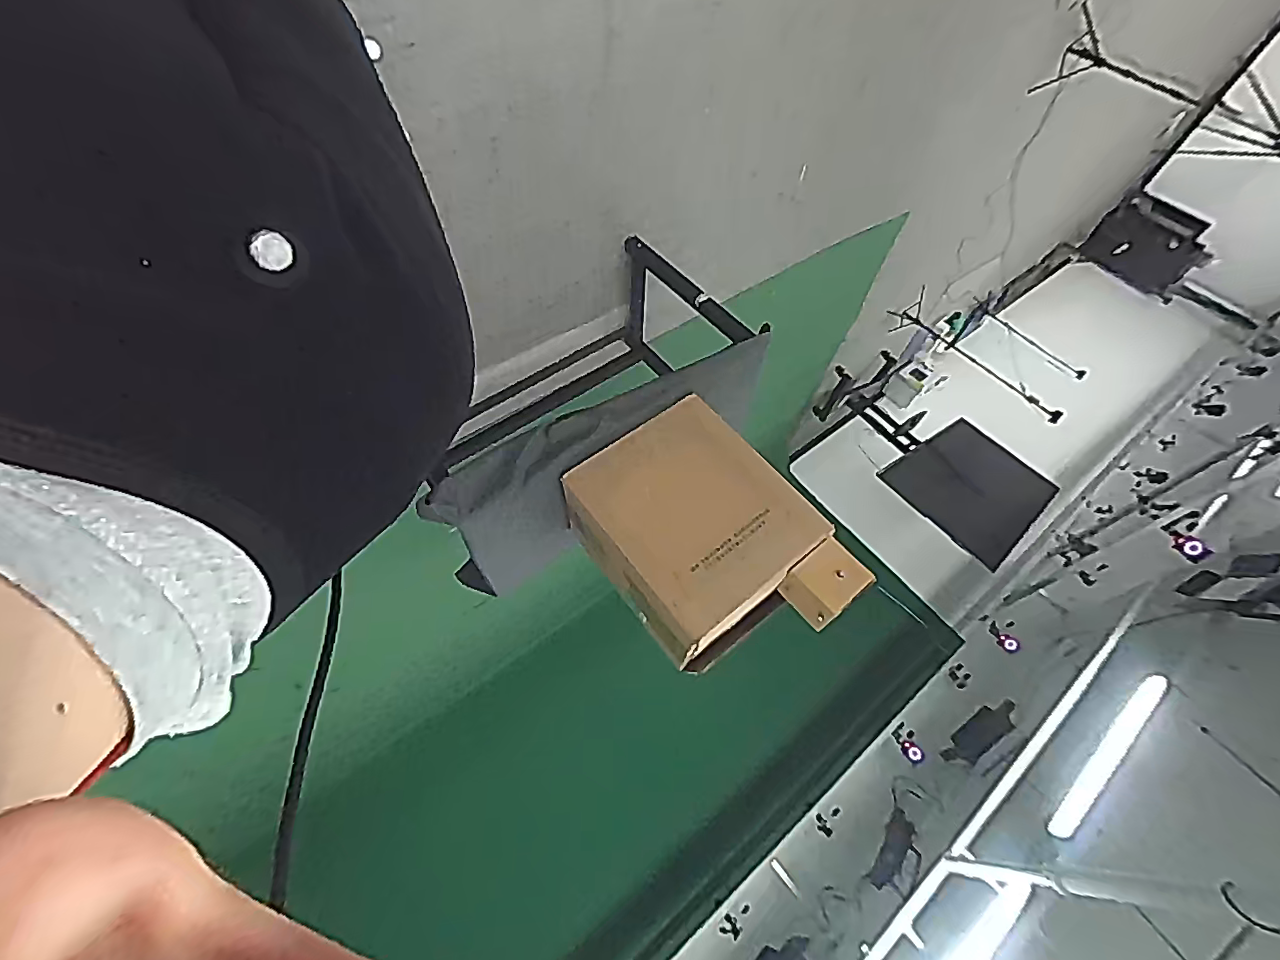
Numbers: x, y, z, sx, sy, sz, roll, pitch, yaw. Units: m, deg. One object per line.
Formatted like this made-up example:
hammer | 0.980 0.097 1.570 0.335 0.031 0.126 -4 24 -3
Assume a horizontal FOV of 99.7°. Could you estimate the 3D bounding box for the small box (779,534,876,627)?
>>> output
small box | 0.537 0.289 1.569 0.179 0.176 0.168 -36 156 -20
